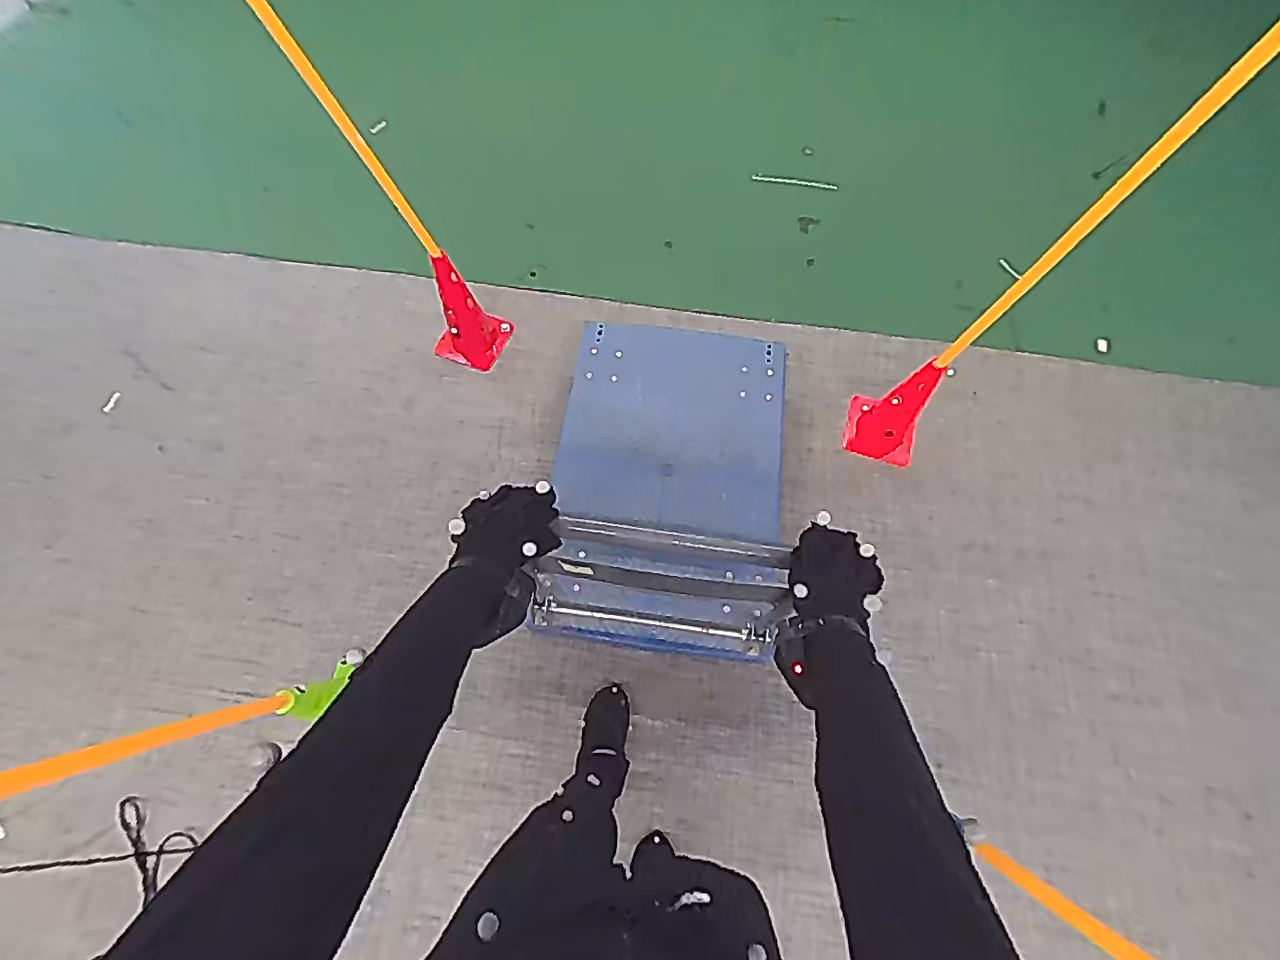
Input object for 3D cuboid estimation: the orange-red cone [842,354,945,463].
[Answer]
[{"bbox_3d":[0.718,-0.221,1.462,0.198,0.360,0.199,18,69,7],"label":"orange-red cone"}]
